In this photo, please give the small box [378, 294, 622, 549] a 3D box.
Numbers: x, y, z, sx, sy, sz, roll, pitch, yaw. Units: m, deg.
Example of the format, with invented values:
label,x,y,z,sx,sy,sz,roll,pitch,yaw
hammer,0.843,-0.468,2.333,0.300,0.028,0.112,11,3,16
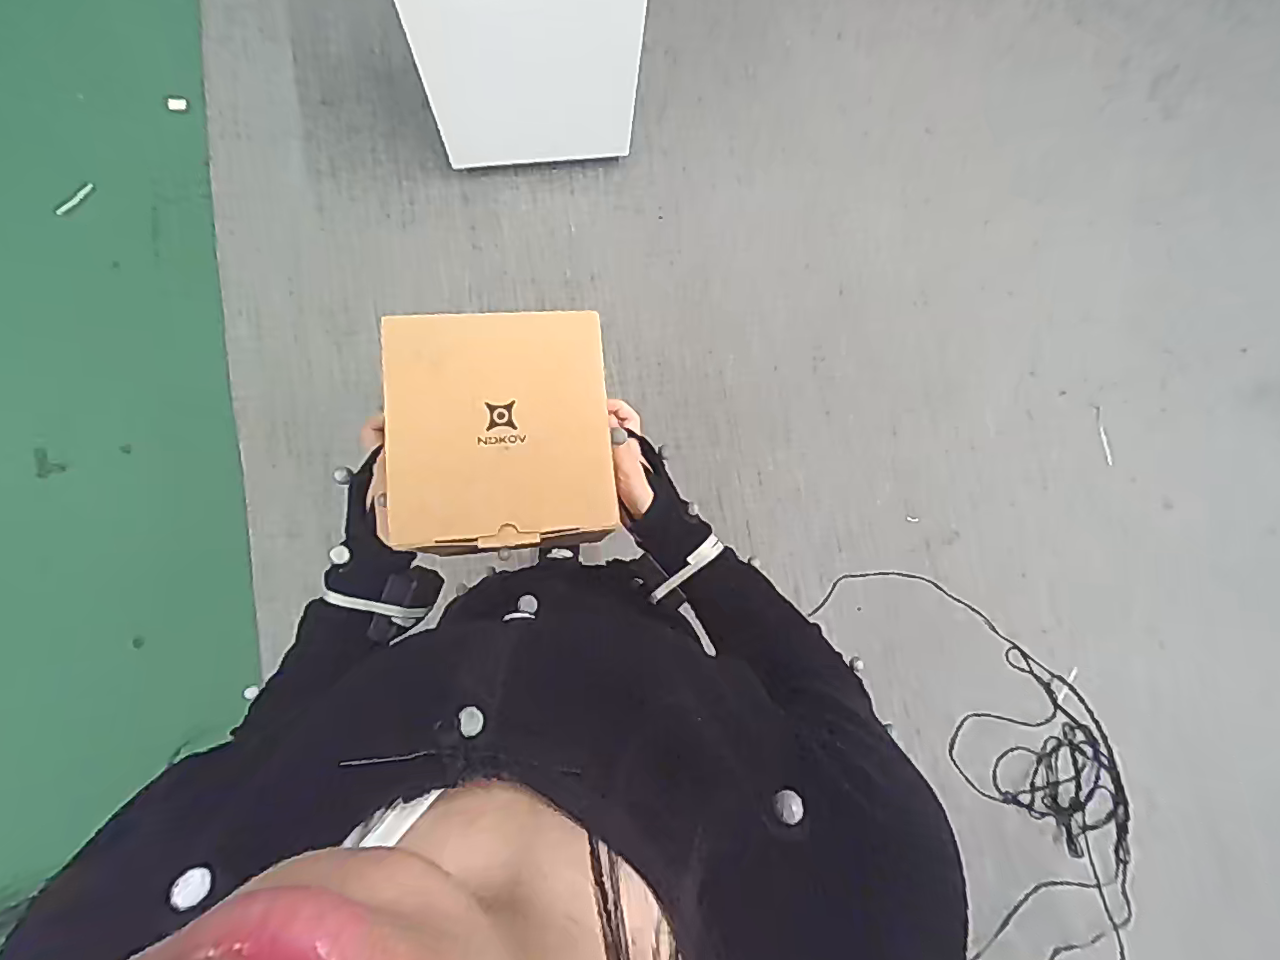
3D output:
label,x,y,z,sx,sy,sz,roll,pitch,yaw
small box,-0.113,-0.038,0.466,0.168,0.176,0.179,-5,81,-9
